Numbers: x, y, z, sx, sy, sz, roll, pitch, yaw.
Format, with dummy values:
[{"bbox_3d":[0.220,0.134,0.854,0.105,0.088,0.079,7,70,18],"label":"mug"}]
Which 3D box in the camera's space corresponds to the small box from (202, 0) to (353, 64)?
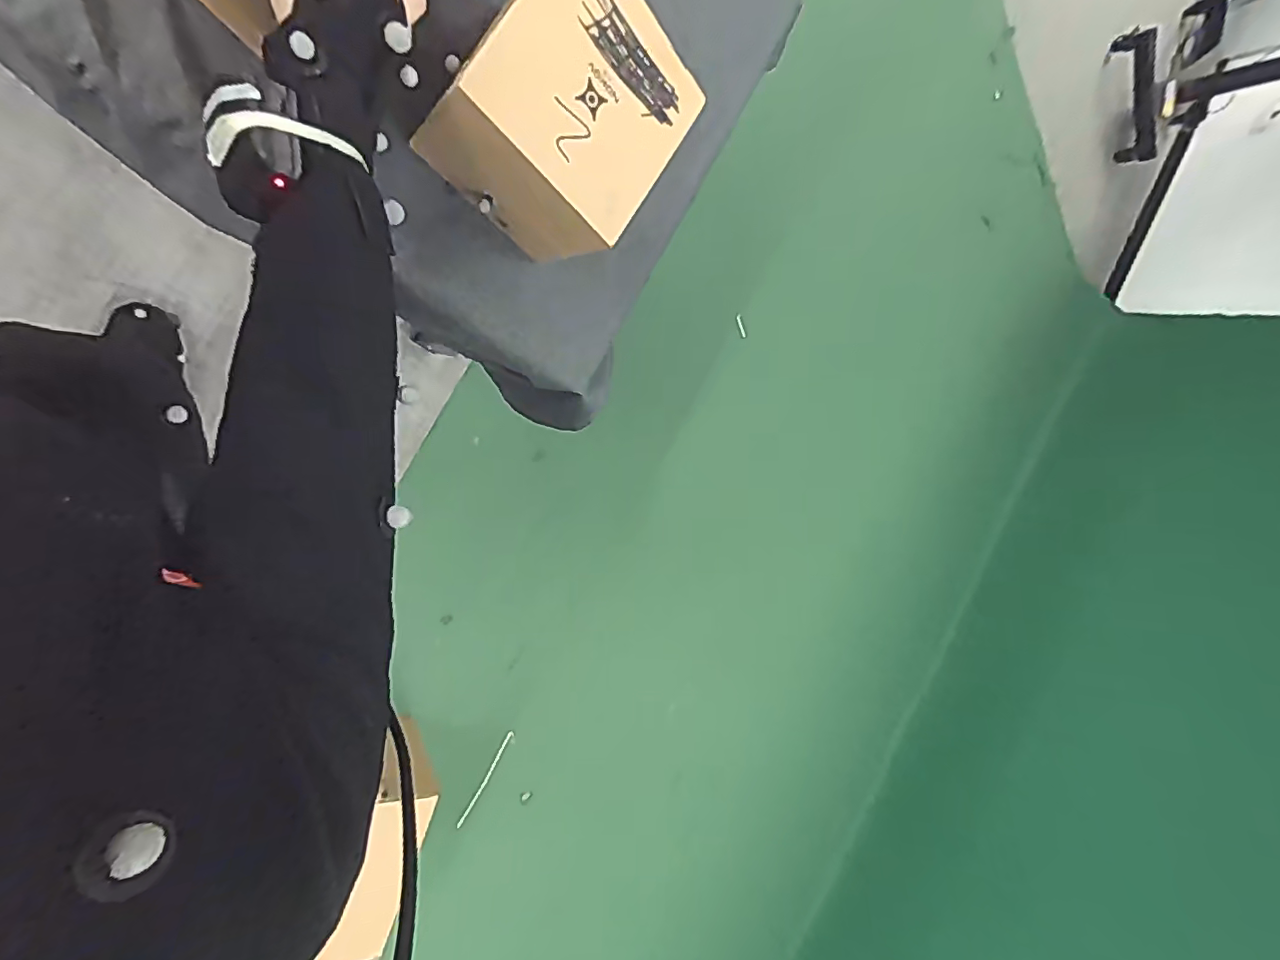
[{"bbox_3d":[-0.264,-0.431,0.351,0.179,0.176,0.168,40,79,-37],"label":"small box"}]
